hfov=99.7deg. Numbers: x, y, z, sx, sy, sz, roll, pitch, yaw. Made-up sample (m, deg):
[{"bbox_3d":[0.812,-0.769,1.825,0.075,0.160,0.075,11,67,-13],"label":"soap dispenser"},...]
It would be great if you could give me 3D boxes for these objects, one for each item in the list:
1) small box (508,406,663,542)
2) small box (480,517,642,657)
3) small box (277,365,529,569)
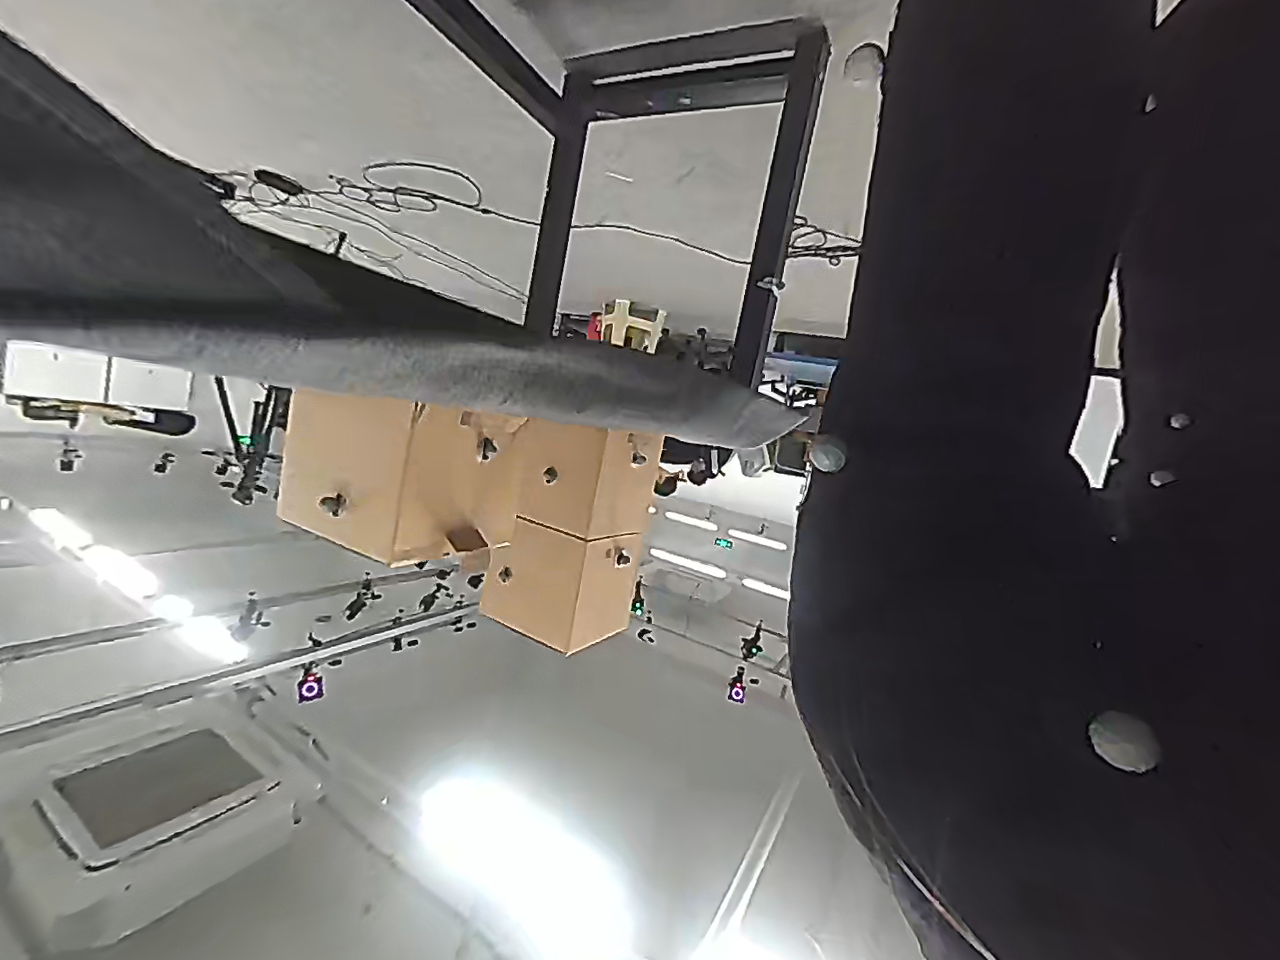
[{"bbox_3d":[-0.086,-0.015,0.822,0.179,0.176,0.168,14,-173,29],"label":"small box"},{"bbox_3d":[-0.117,0.144,0.839,0.179,0.176,0.168,14,-172,29],"label":"small box"},{"bbox_3d":[-0.241,-0.021,0.573,0.179,0.176,0.168,14,-174,26],"label":"small box"}]
